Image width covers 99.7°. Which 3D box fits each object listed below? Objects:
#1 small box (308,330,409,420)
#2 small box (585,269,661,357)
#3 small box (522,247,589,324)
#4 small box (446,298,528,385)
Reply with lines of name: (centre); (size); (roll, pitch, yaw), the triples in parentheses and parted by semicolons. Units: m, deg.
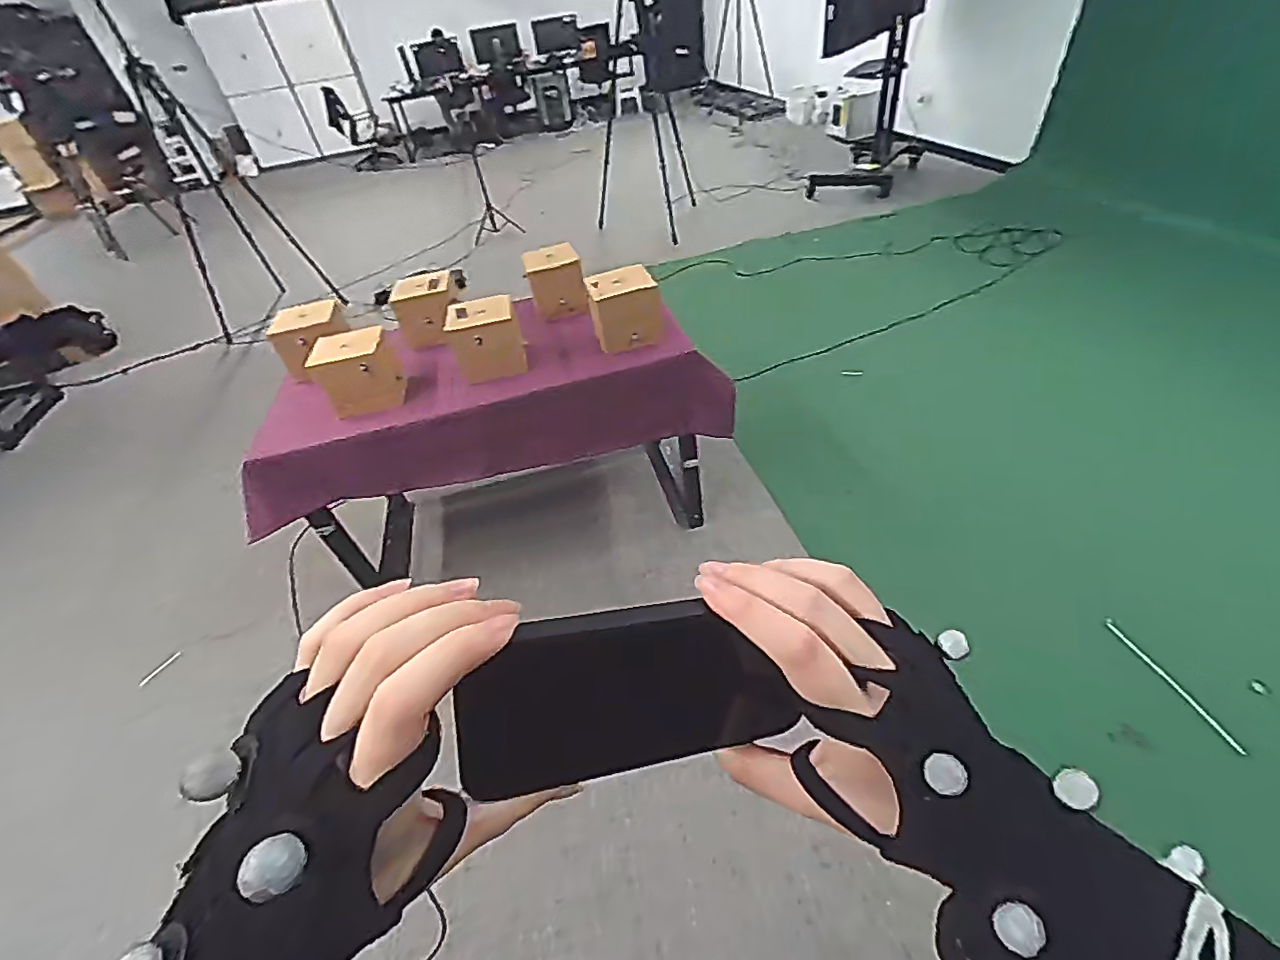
small box: (-0.760, -0.284, 1.477); (0.179, 0.176, 0.168); (-13, 42, -5)
small box: (-0.045, -0.473, 1.536); (0.179, 0.176, 0.168); (-16, 42, -6)
small box: (-0.272, -0.626, 1.746); (0.168, 0.176, 0.179); (-17, 43, -7)
small box: (-0.425, -0.385, 1.518); (0.179, 0.176, 0.168); (-12, 43, -3)
